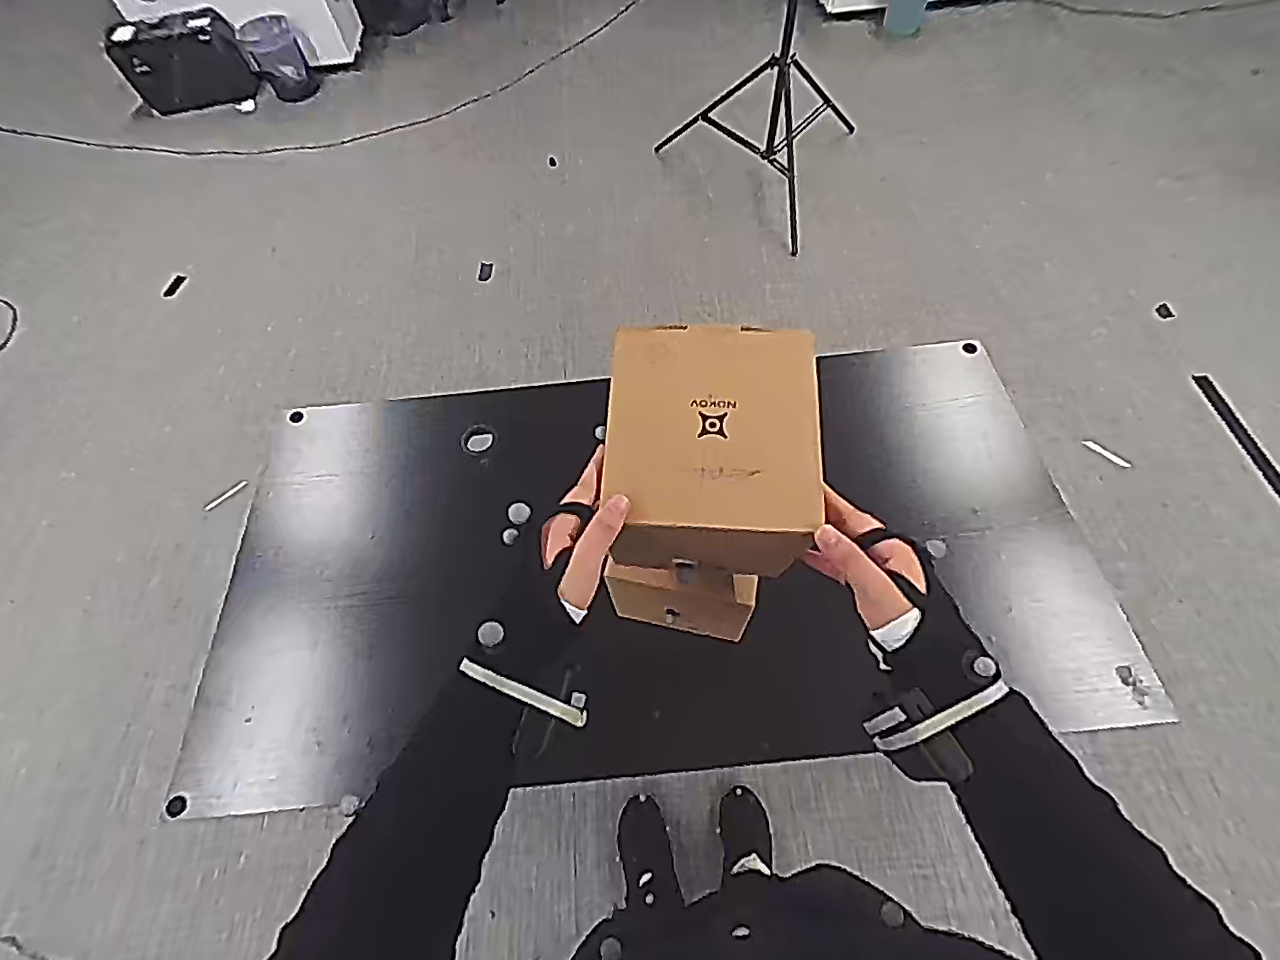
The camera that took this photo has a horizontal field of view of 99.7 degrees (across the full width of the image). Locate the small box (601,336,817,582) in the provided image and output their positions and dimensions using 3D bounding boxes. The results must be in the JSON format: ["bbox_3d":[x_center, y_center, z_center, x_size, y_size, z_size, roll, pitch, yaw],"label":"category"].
[{"bbox_3d":[0.058,-0.012,0.508,0.168,0.176,0.179,2,69,3],"label":"small box"}]

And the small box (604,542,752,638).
[{"bbox_3d":[0.062,0.088,0.695,0.168,0.176,0.179,10,62,9],"label":"small box"}]
